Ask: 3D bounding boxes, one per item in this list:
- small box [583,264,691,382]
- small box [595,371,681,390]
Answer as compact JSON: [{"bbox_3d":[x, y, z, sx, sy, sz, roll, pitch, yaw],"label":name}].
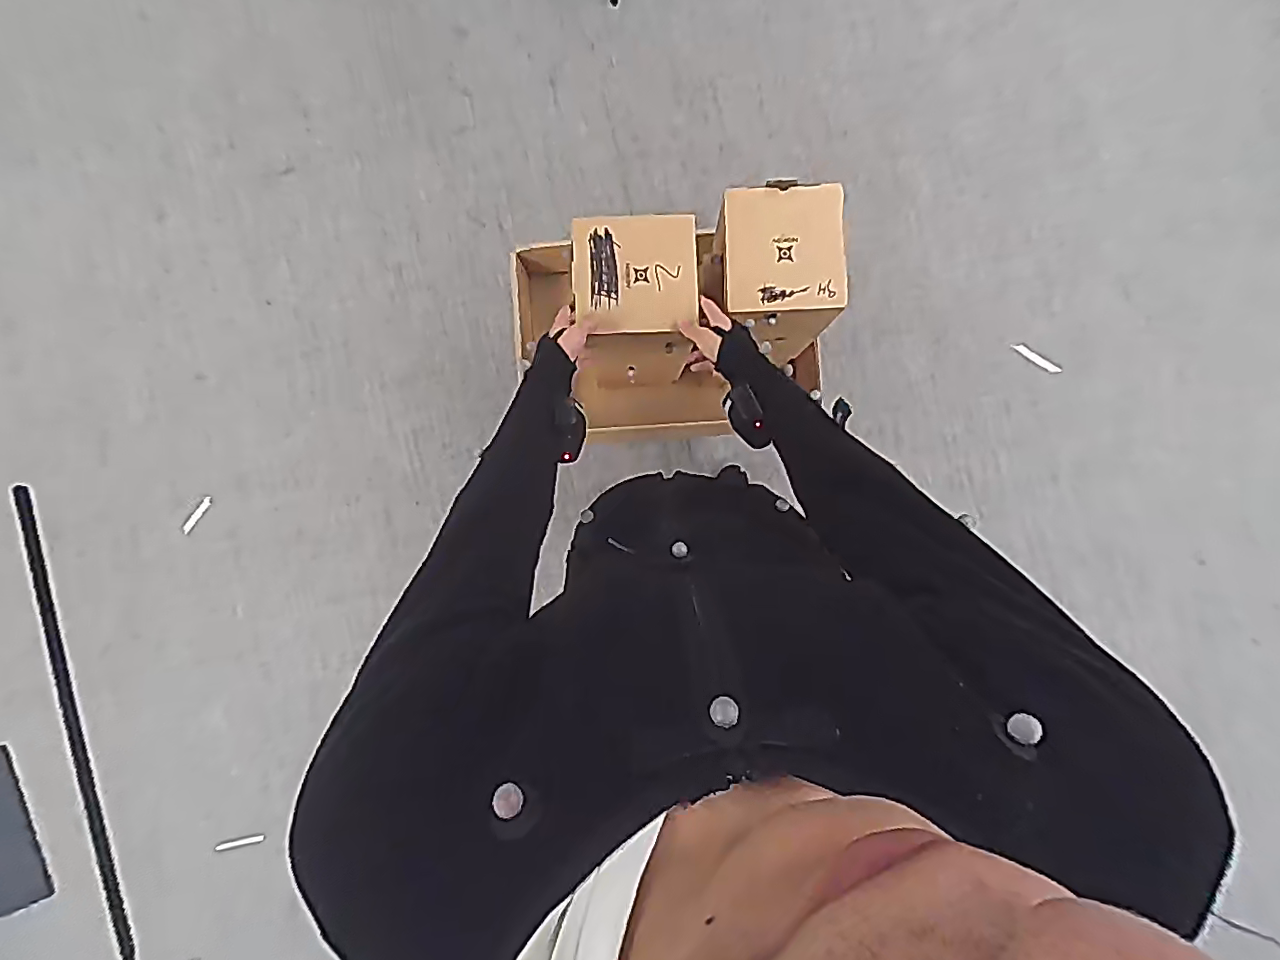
[{"bbox_3d":[-0.006,-0.276,0.984,0.179,0.176,0.168,2,89,0],"label":"small box"},{"bbox_3d":[-0.011,-0.288,1.148,0.179,0.176,0.168,-3,89,-1],"label":"small box"}]
